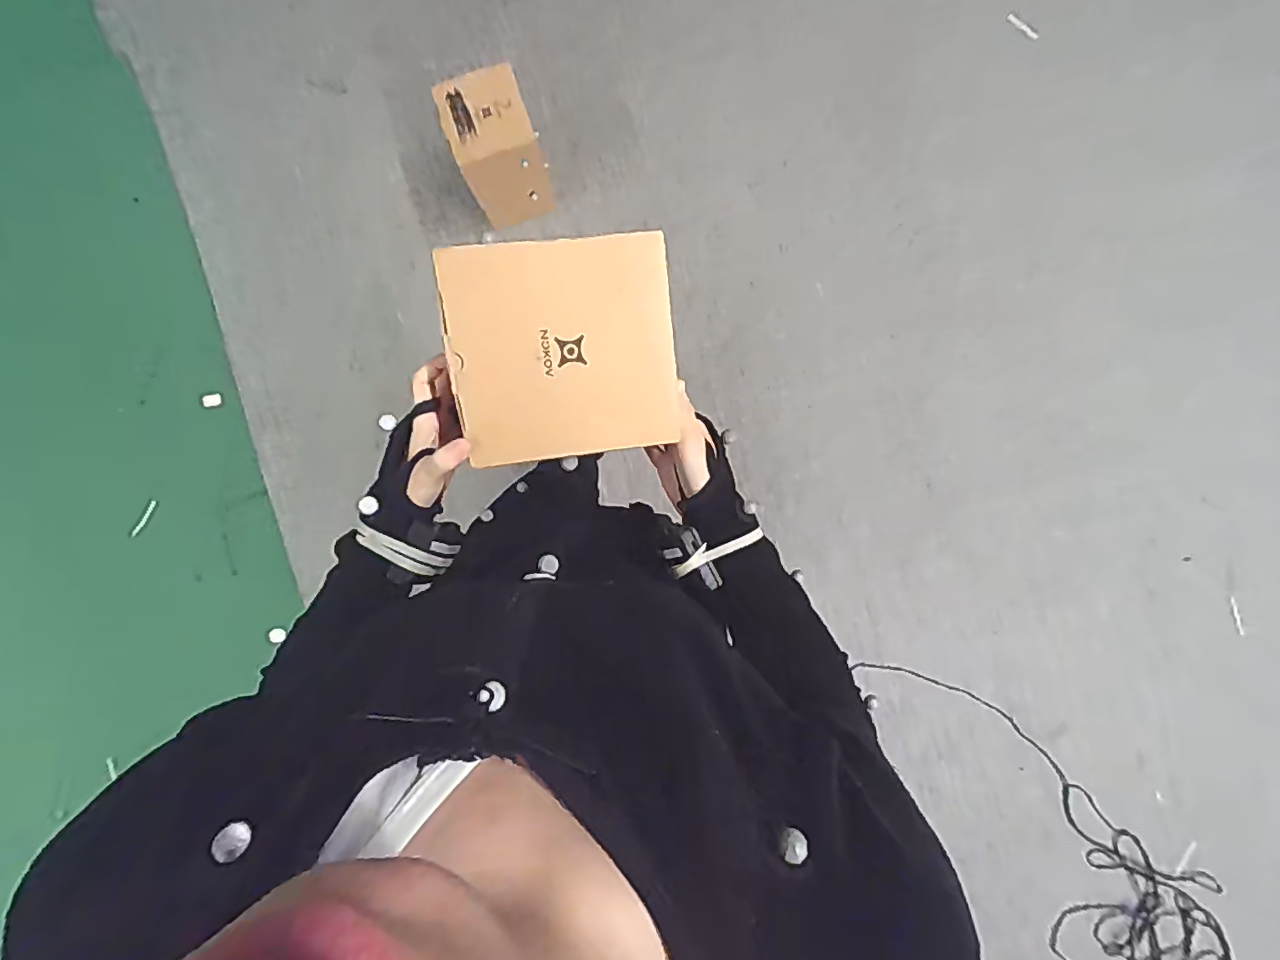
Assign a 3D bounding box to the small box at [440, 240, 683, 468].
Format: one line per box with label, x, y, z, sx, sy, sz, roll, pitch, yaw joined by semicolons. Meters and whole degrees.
small box;-0.068;-0.115;0.504;0.179;0.176;0.168;-8;103;-6
